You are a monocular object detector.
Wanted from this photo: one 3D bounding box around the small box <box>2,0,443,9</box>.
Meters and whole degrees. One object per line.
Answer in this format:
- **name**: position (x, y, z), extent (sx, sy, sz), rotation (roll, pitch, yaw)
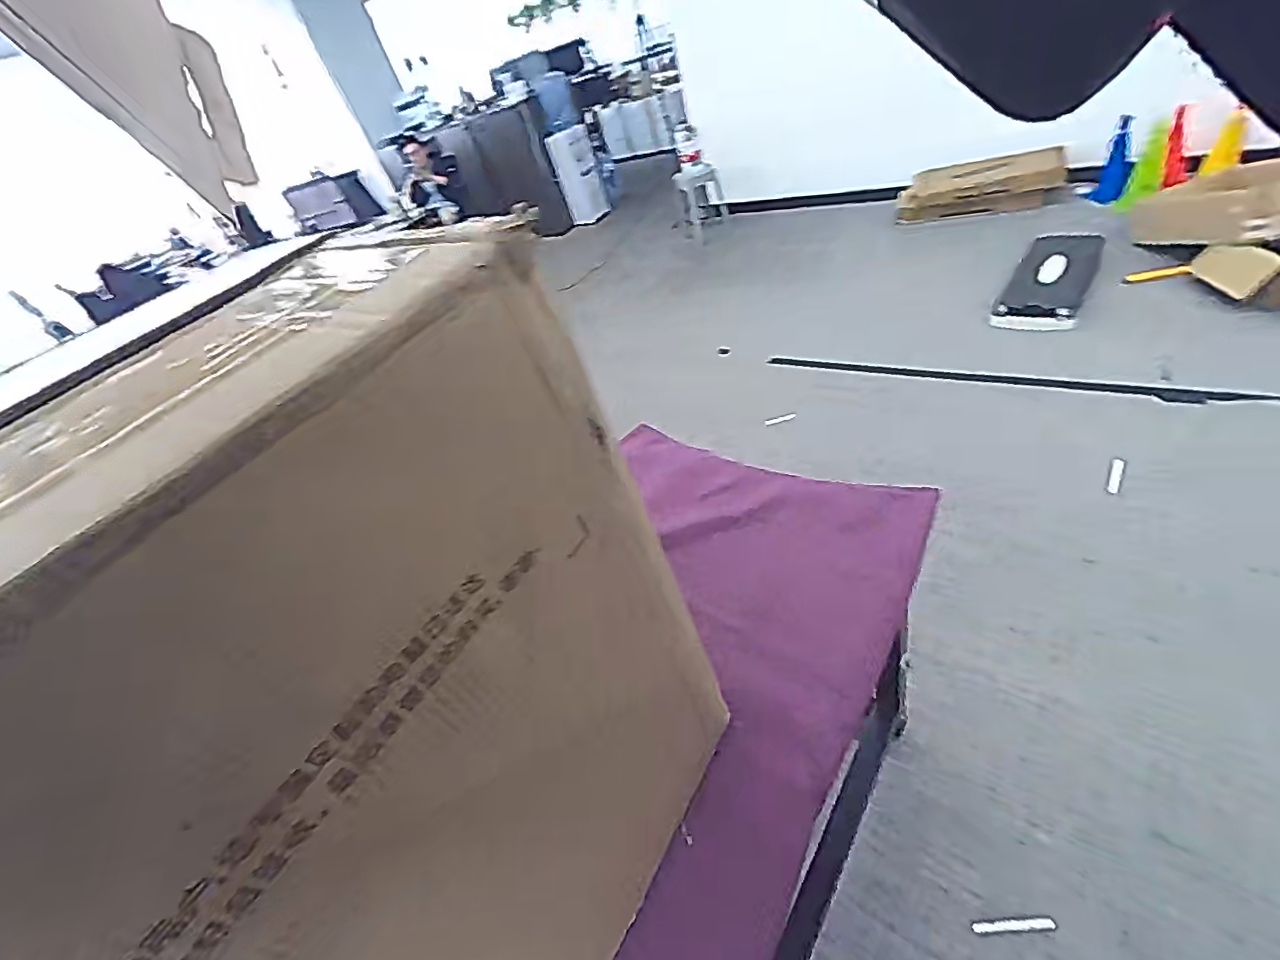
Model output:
- **small box**: position (-0.129, -0.260, 0.119), extent (0.179, 0.168, 0.176), rotation (-20, 0, -21)
